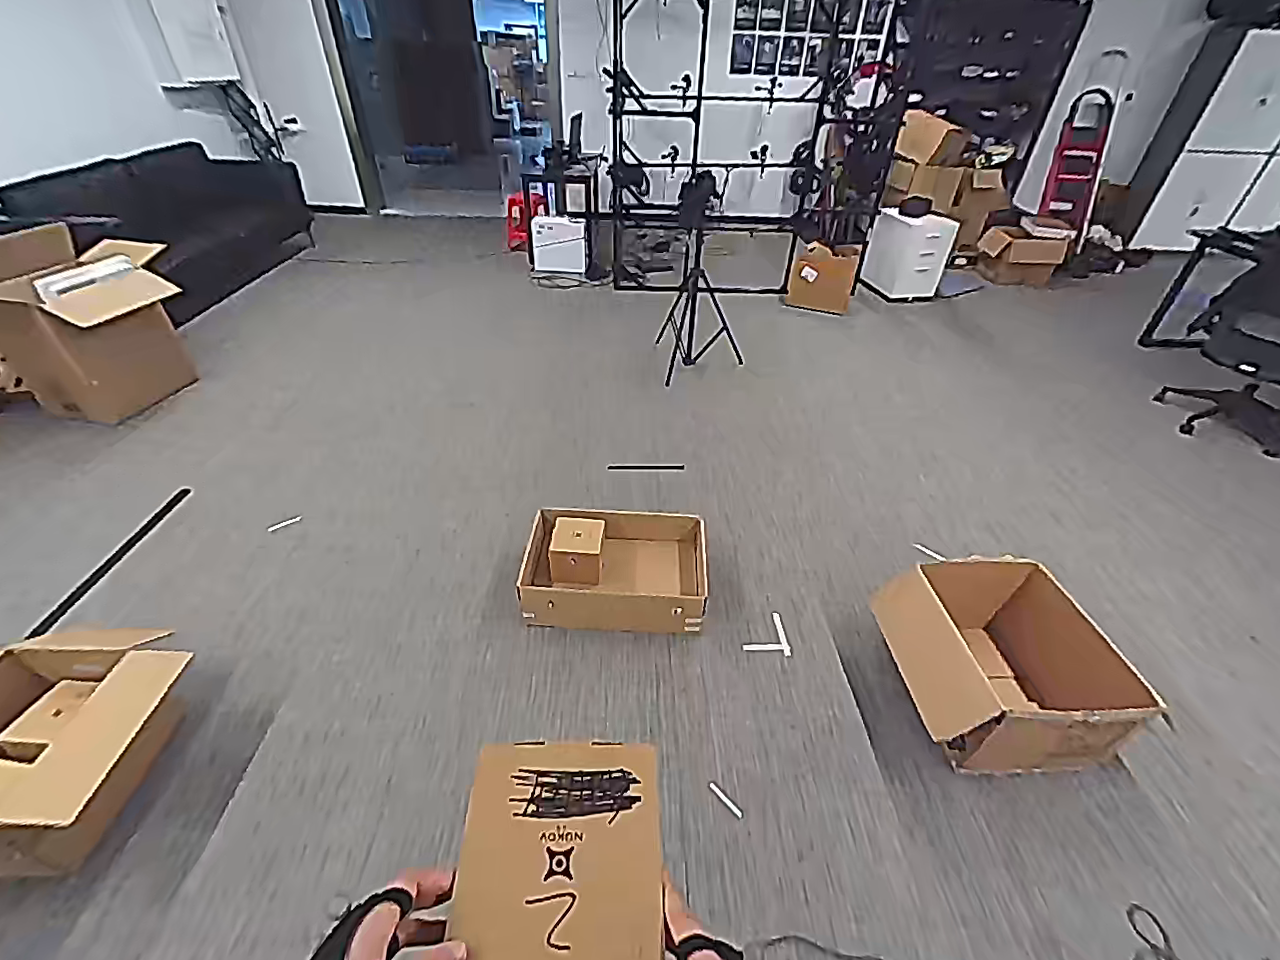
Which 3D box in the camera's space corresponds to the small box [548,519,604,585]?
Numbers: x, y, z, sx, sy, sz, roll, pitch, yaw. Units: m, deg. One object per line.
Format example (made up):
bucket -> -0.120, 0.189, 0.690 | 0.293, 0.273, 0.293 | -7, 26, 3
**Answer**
small box -> -0.226, 0.261, 1.945 | 0.179, 0.176, 0.168 | 4, 40, 0
